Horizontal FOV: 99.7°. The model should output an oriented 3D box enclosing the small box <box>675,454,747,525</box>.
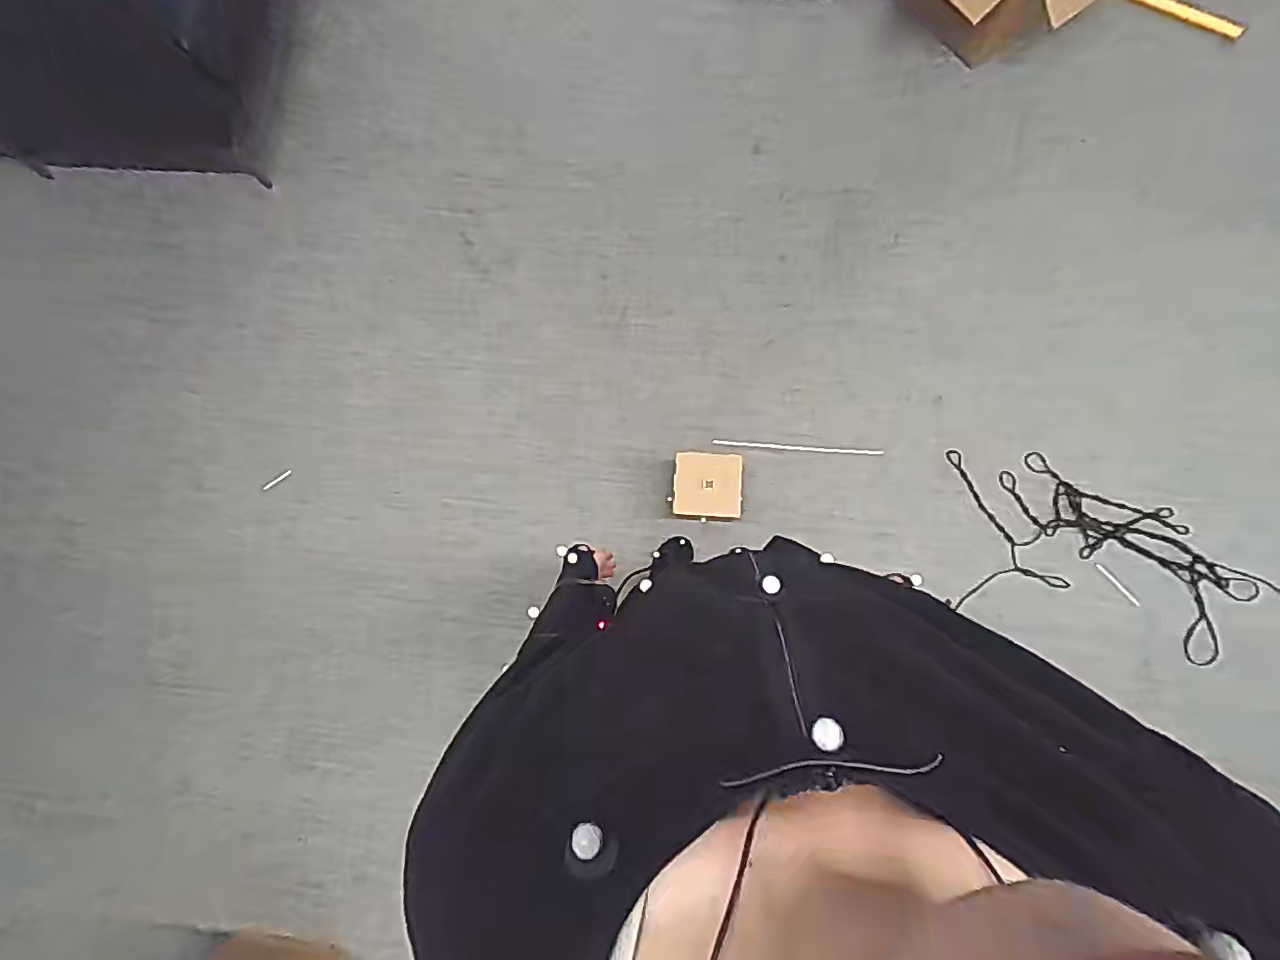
[{"bbox_3d":[0.190,0.030,1.461,0.179,0.176,0.168,4,82,5],"label":"small box"}]
